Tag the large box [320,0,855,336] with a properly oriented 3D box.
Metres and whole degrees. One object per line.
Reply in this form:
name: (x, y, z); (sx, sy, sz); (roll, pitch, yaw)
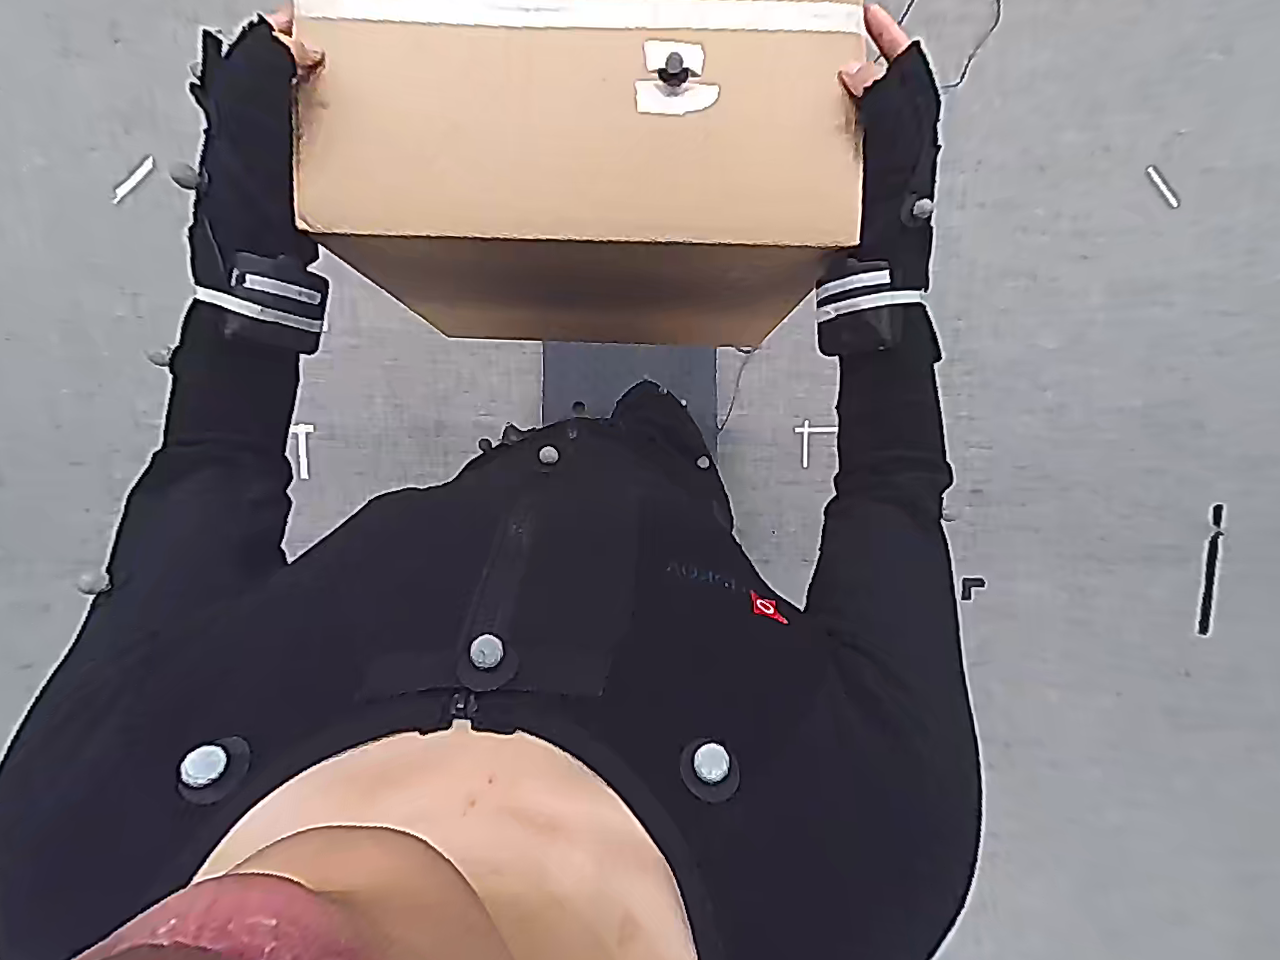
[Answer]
large box: (-0.041, -0.339, 0.552); (0.408, 0.320, 0.320); (1, 91, -1)
